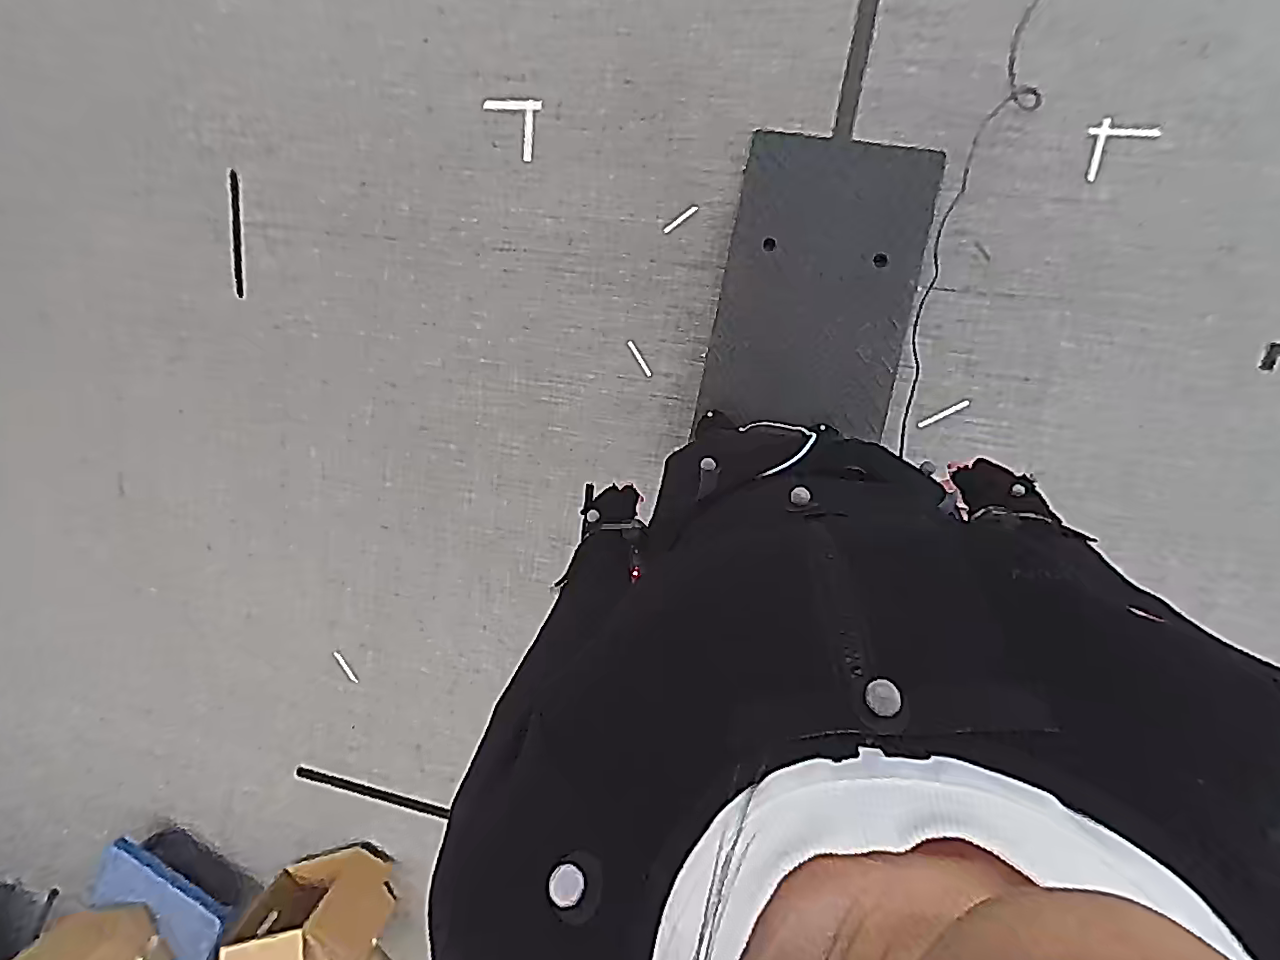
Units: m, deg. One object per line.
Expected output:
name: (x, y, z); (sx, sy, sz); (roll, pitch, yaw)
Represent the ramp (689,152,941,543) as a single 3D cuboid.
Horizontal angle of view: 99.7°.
ramp: (0.452, -0.363, 1.439); (0.509, 0.206, 0.991); (9, 101, 11)
